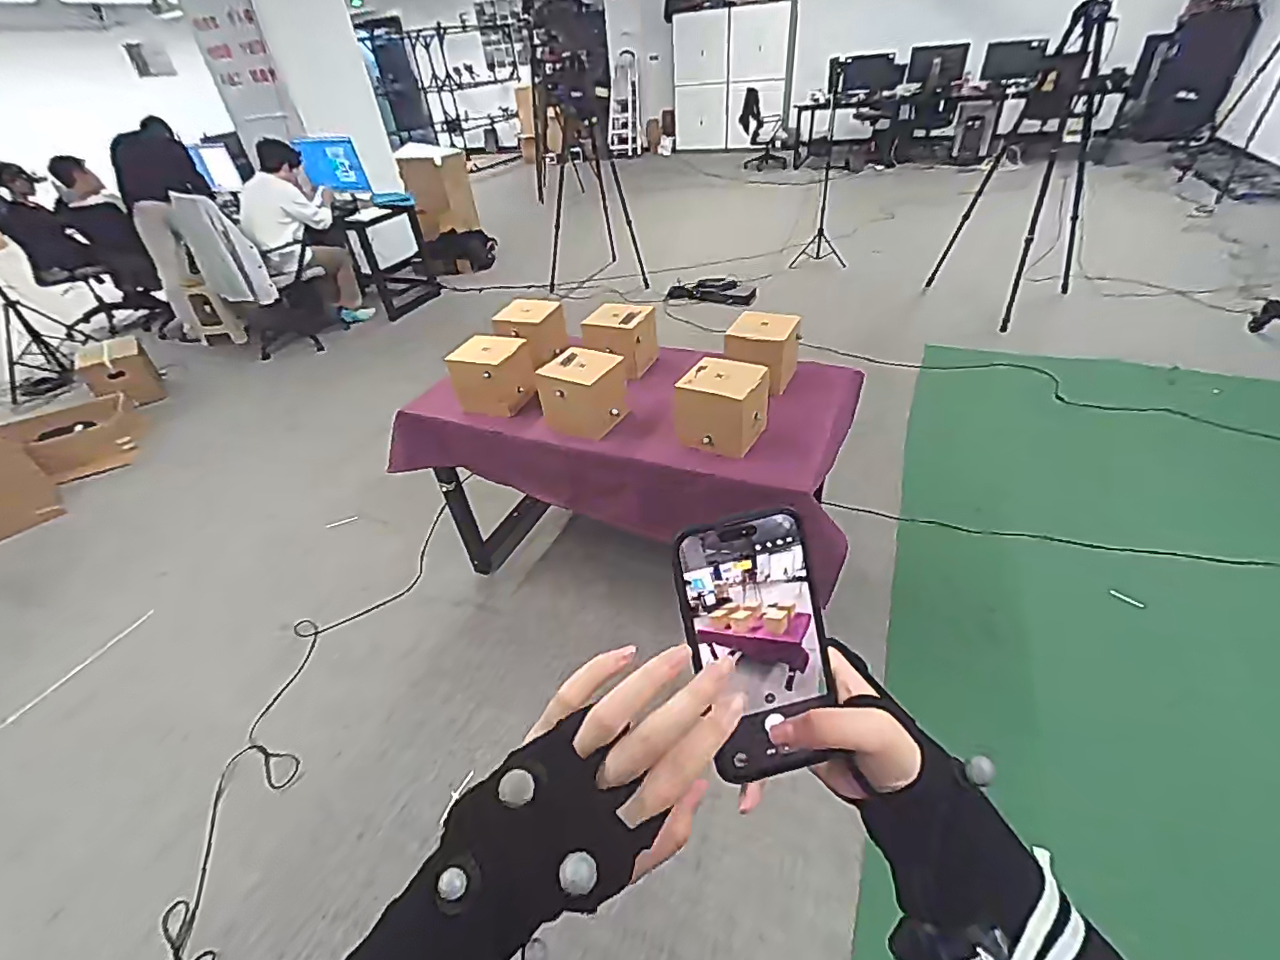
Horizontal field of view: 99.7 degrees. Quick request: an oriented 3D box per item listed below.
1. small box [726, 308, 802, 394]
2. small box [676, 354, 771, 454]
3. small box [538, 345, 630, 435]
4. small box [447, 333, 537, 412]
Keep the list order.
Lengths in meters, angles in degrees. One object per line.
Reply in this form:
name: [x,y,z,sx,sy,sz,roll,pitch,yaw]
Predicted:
small box: [0.350,-0.369,1.539,0.168,0.176,0.179,15,44,25]
small box: [0.205,-0.184,1.331,0.179,0.176,0.168,18,44,27]
small box: [-0.144,-0.240,1.444,0.179,0.176,0.168,18,44,26]
small box: [-0.422,-0.312,1.571,0.179,0.176,0.168,10,41,16]
